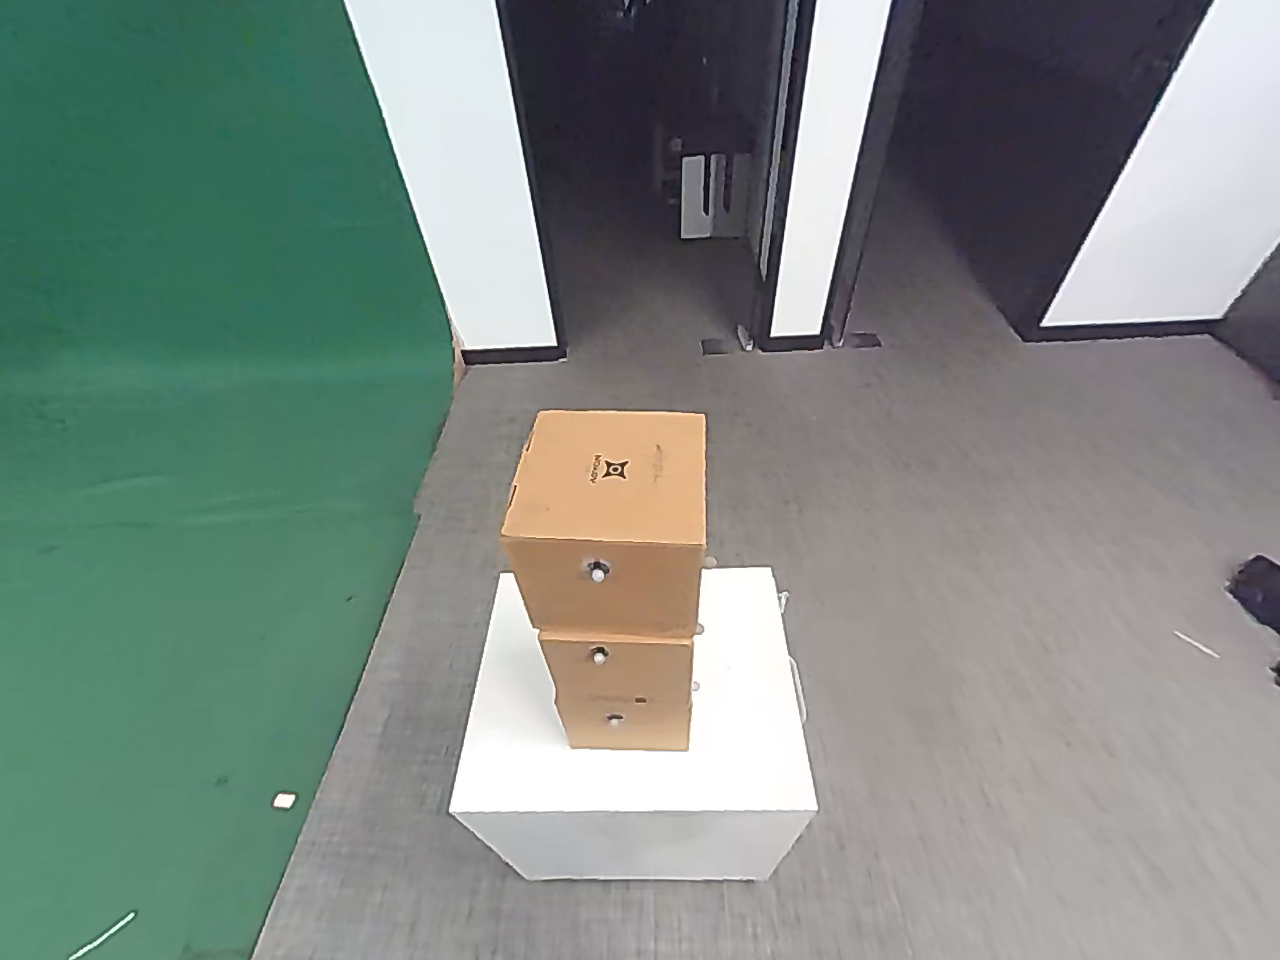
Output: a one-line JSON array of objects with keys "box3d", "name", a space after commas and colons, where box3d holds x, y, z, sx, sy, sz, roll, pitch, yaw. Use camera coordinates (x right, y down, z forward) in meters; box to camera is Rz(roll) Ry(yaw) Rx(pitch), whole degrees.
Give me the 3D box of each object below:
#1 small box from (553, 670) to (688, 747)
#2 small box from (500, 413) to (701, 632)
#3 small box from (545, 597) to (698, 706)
[{"box3d": [-0.018, 0.280, 0.798, 0.179, 0.176, 0.168, 0, 45, 3], "name": "small box"}, {"box3d": [-0.027, 0.047, 0.571, 0.179, 0.176, 0.168, 2, 48, 4], "name": "small box"}, {"box3d": [-0.018, 0.165, 0.686, 0.168, 0.176, 0.179, 0, 46, 1], "name": "small box"}]
